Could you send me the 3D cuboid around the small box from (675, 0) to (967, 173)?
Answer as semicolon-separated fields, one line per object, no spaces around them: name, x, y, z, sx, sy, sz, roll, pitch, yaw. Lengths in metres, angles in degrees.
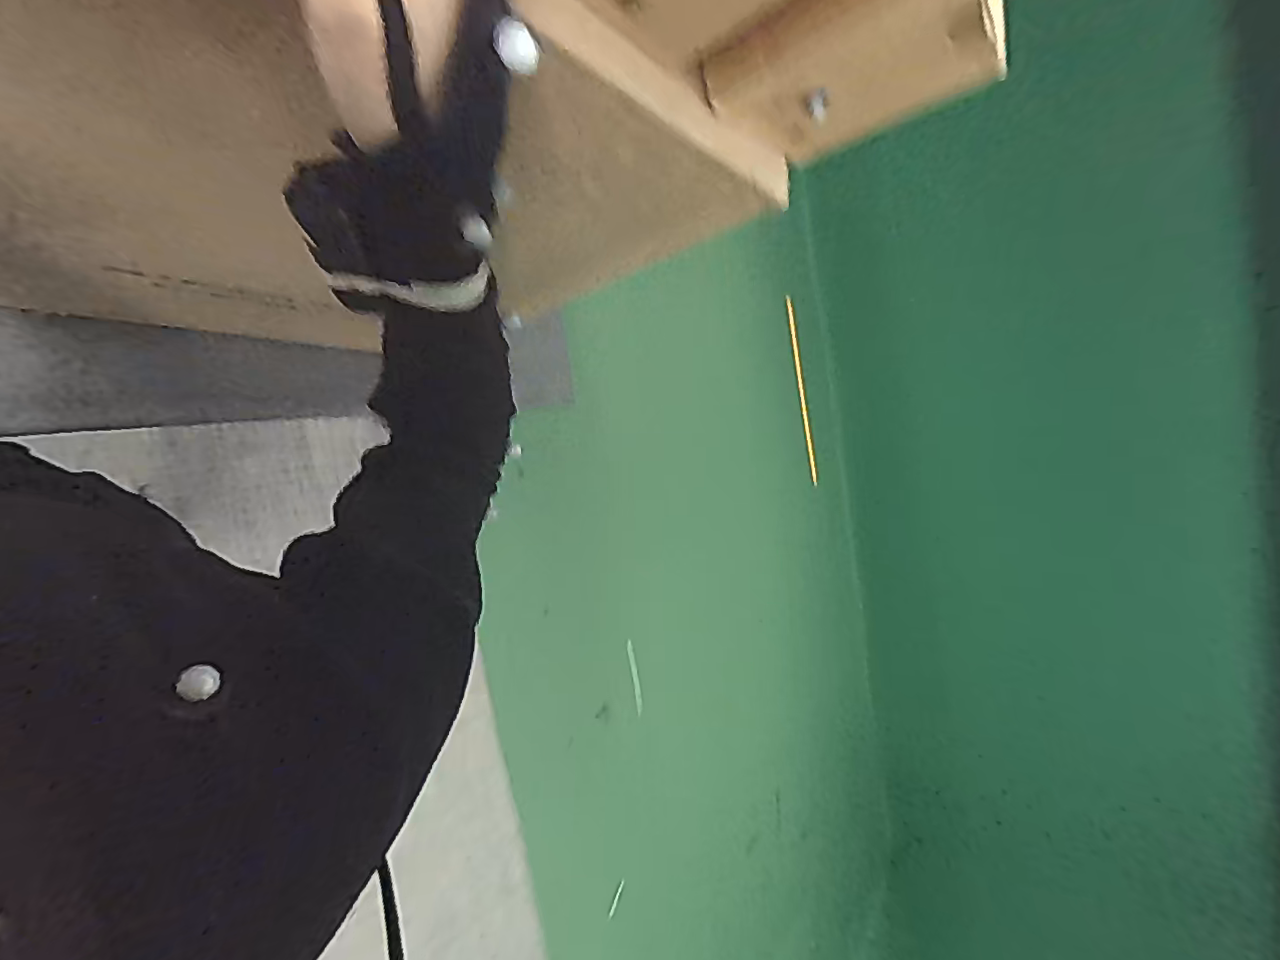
small box;0.131;-0.360;0.394;0.168;0.176;0.179;-21;107;-52
